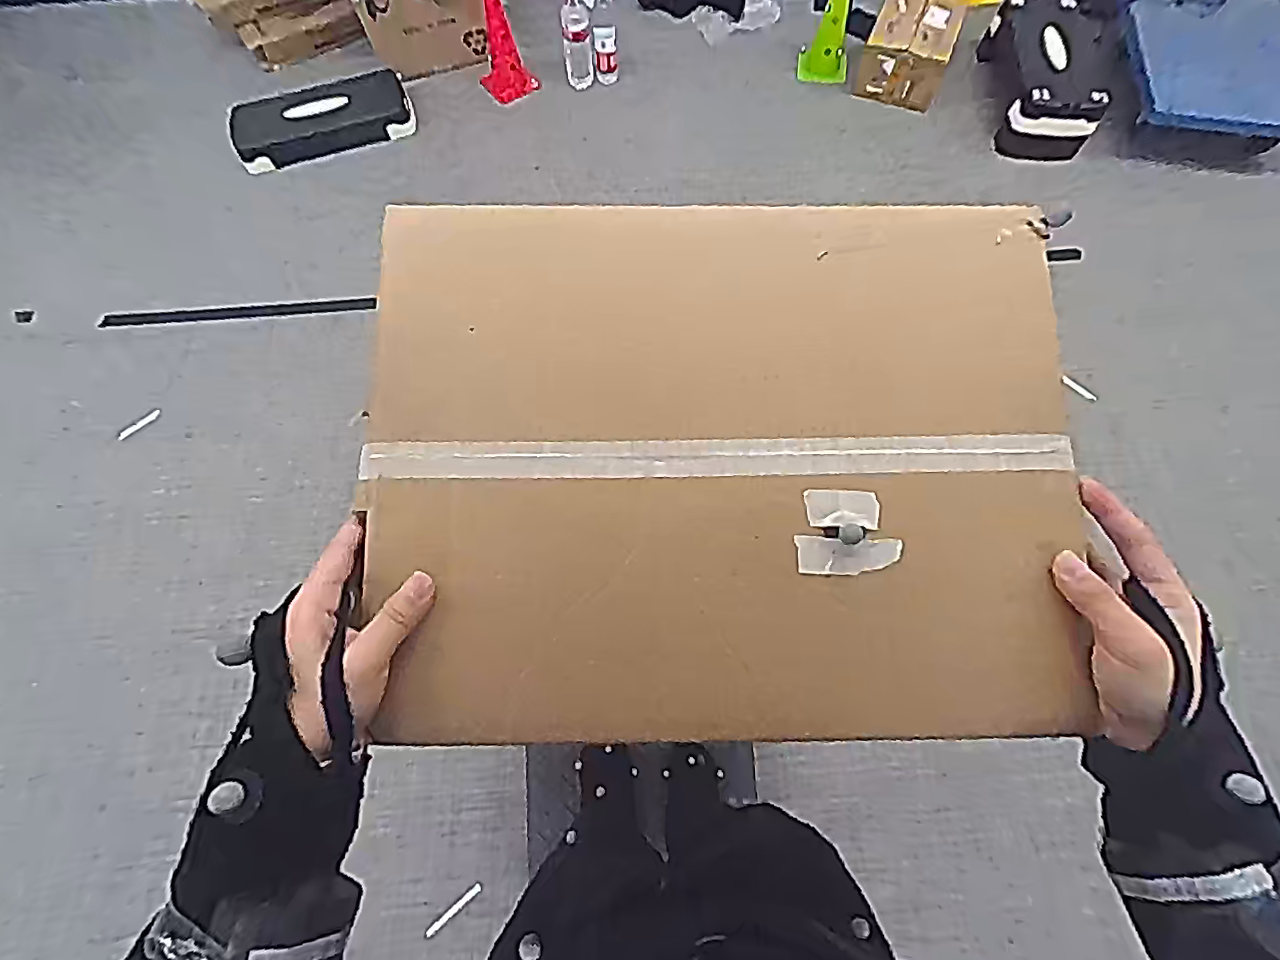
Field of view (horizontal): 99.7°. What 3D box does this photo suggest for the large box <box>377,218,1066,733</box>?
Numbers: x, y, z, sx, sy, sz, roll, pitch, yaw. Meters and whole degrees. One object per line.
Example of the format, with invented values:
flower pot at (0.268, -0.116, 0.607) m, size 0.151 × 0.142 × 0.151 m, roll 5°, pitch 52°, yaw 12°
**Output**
large box at (0.041, 0.005, 0.474) m, size 0.408 × 0.320 × 0.320 m, roll -1°, pitch 83°, yaw -1°
